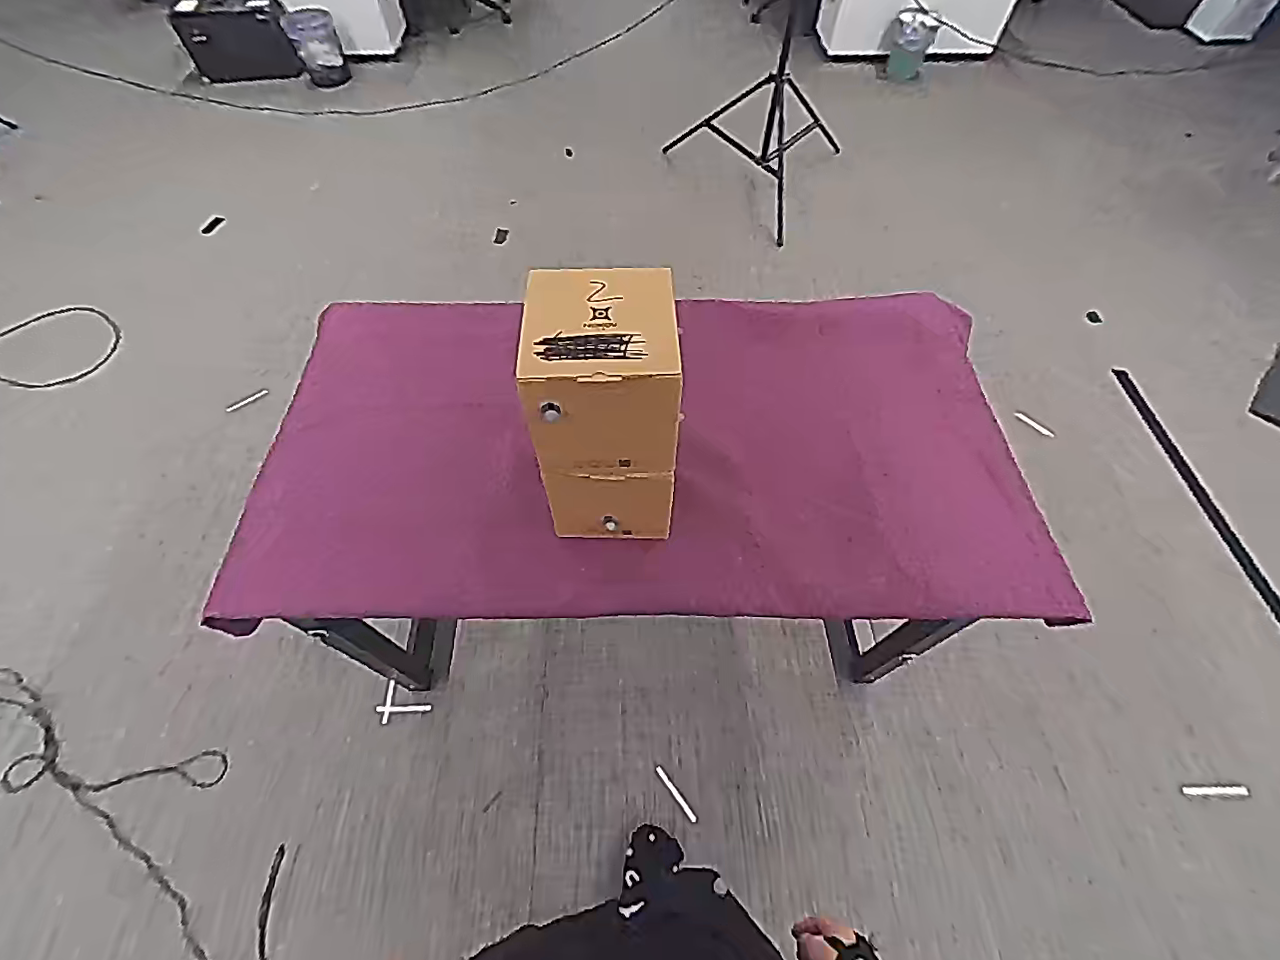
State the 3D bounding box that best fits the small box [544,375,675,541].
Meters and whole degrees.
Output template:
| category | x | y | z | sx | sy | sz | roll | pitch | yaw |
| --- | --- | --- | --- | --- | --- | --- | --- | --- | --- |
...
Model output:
| category | x | y | z | sx | sy | sz | roll | pitch | yaw |
| --- | --- | --- | --- | --- | --- | --- | --- | --- | --- |
| small box | -0.037 | -0.029 | 0.783 | 0.168 | 0.176 | 0.179 | 1 | 57 | 1 |
